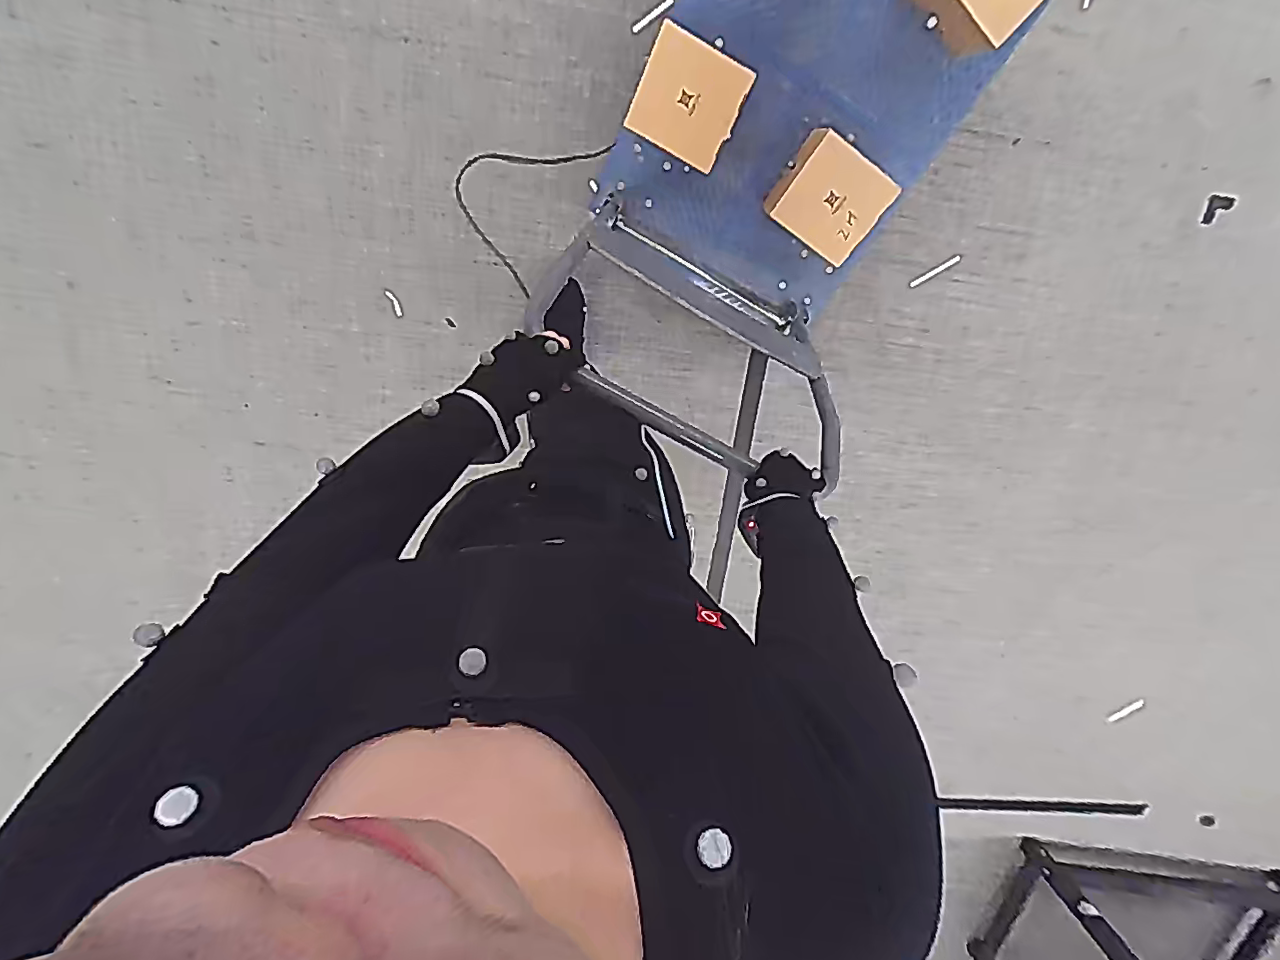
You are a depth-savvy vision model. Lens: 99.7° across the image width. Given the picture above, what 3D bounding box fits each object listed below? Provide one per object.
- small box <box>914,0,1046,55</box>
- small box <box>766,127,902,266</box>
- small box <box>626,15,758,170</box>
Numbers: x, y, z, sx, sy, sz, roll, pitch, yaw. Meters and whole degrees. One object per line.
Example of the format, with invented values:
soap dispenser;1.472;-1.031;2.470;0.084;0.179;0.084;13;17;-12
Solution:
small box;0.567;-0.825;0.858;0.168;0.176;0.179;37;121;-17
small box;0.366;-0.555;1.059;0.179;0.176;0.168;31;122;-13
small box;0.091;-0.701;0.996;0.179;0.176;0.168;24;123;-11
